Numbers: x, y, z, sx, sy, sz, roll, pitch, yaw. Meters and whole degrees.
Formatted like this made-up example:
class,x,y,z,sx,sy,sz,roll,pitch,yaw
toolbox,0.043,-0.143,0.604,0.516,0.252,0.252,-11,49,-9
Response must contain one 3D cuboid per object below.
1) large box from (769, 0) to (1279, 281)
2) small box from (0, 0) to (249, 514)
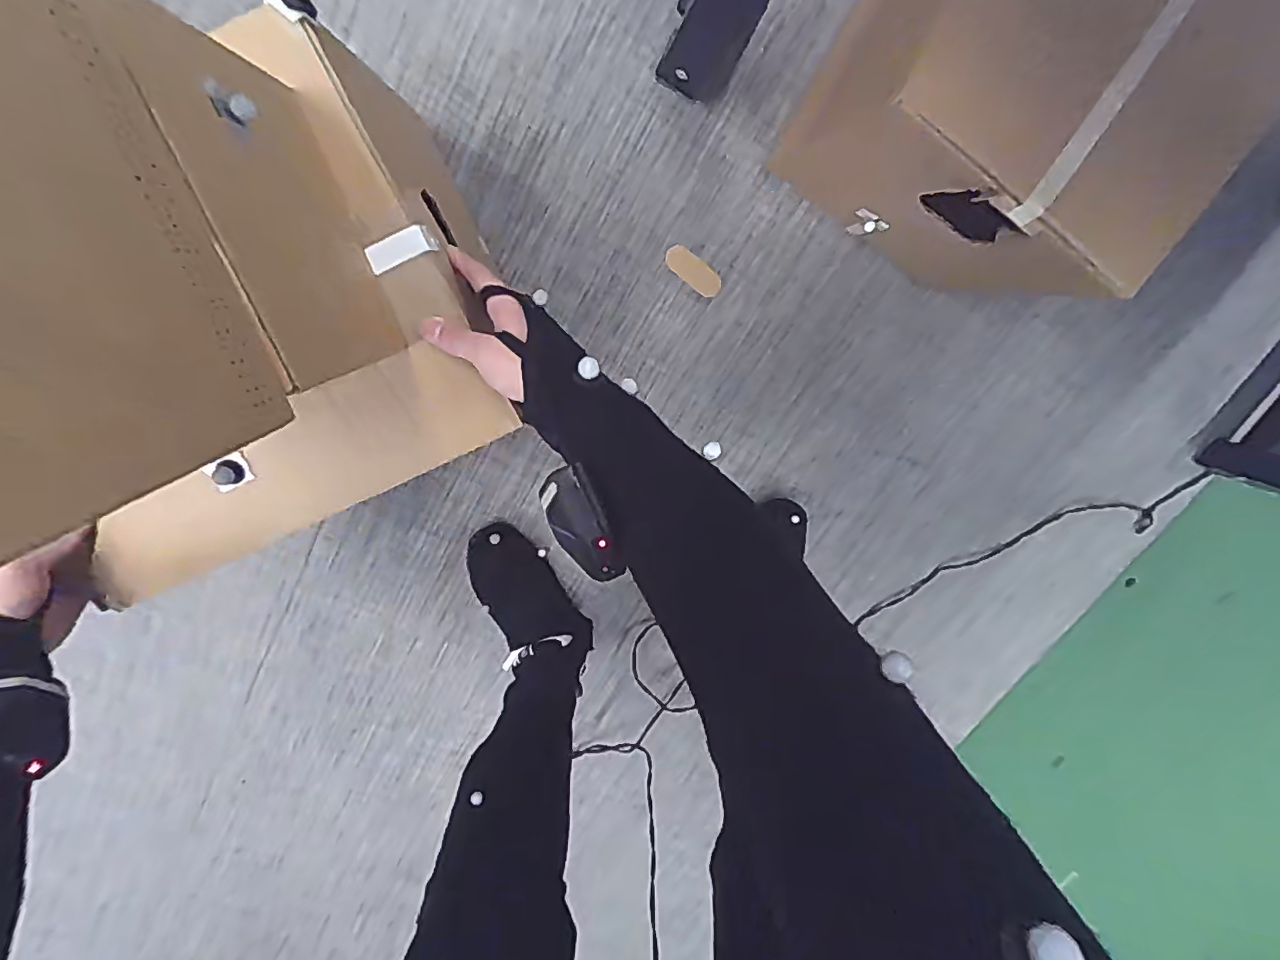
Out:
class,x,y,z,sx,sy,sz,roll,pitch,yaw
large box,0.401,-0.460,0.549,0.320,0.320,0.408,26,105,-18
small box,-0.262,-0.062,0.148,0.168,0.176,0.179,-14,111,0
